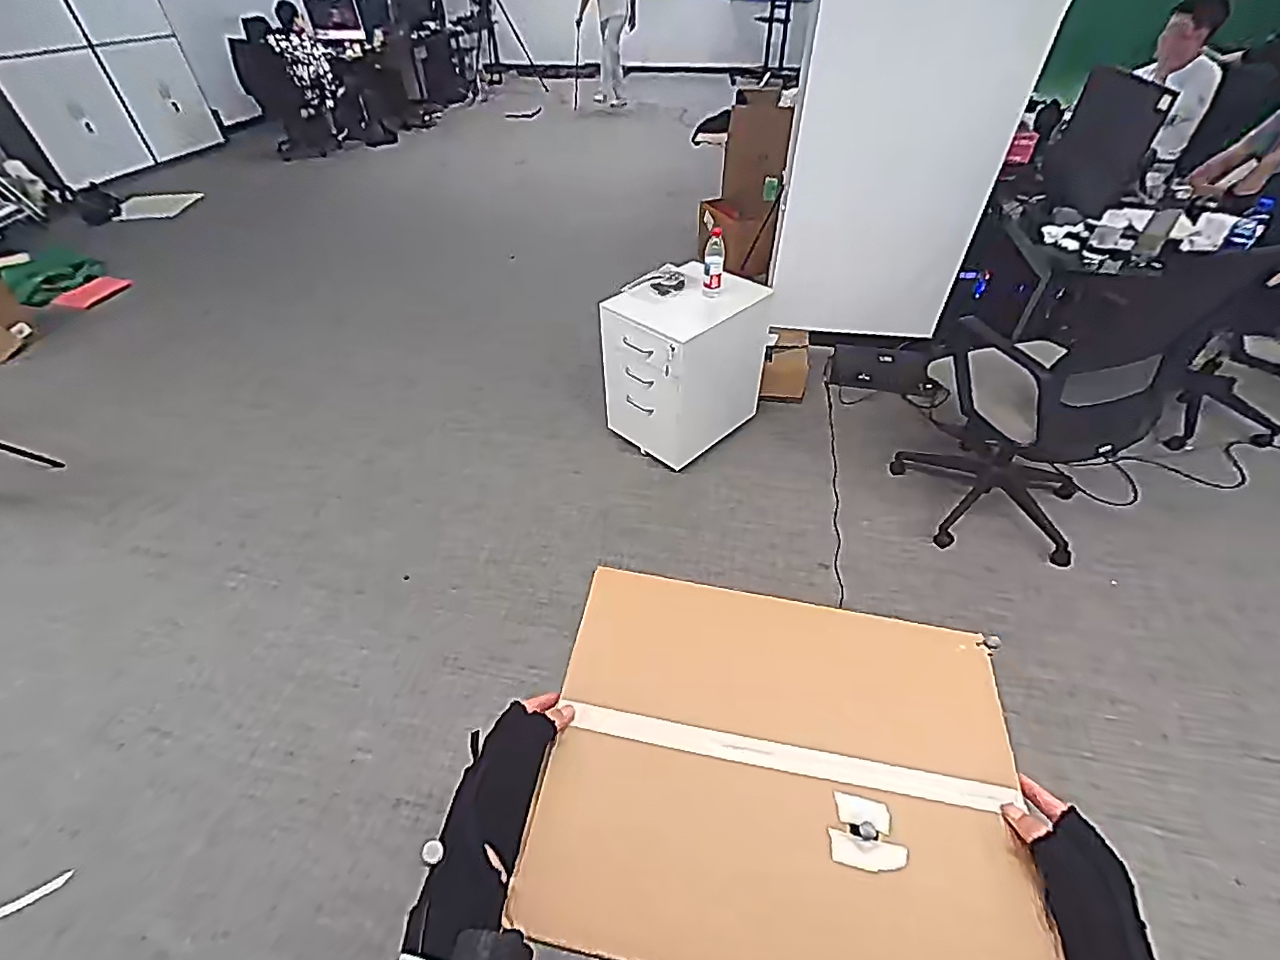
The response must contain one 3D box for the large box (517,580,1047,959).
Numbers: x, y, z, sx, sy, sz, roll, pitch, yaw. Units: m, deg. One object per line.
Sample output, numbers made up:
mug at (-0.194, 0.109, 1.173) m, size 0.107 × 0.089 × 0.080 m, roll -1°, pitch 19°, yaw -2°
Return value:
large box at (0.118, 0.348, 0.595) m, size 0.408 × 0.320 × 0.320 m, roll 10°, pitch 50°, yaw 5°
